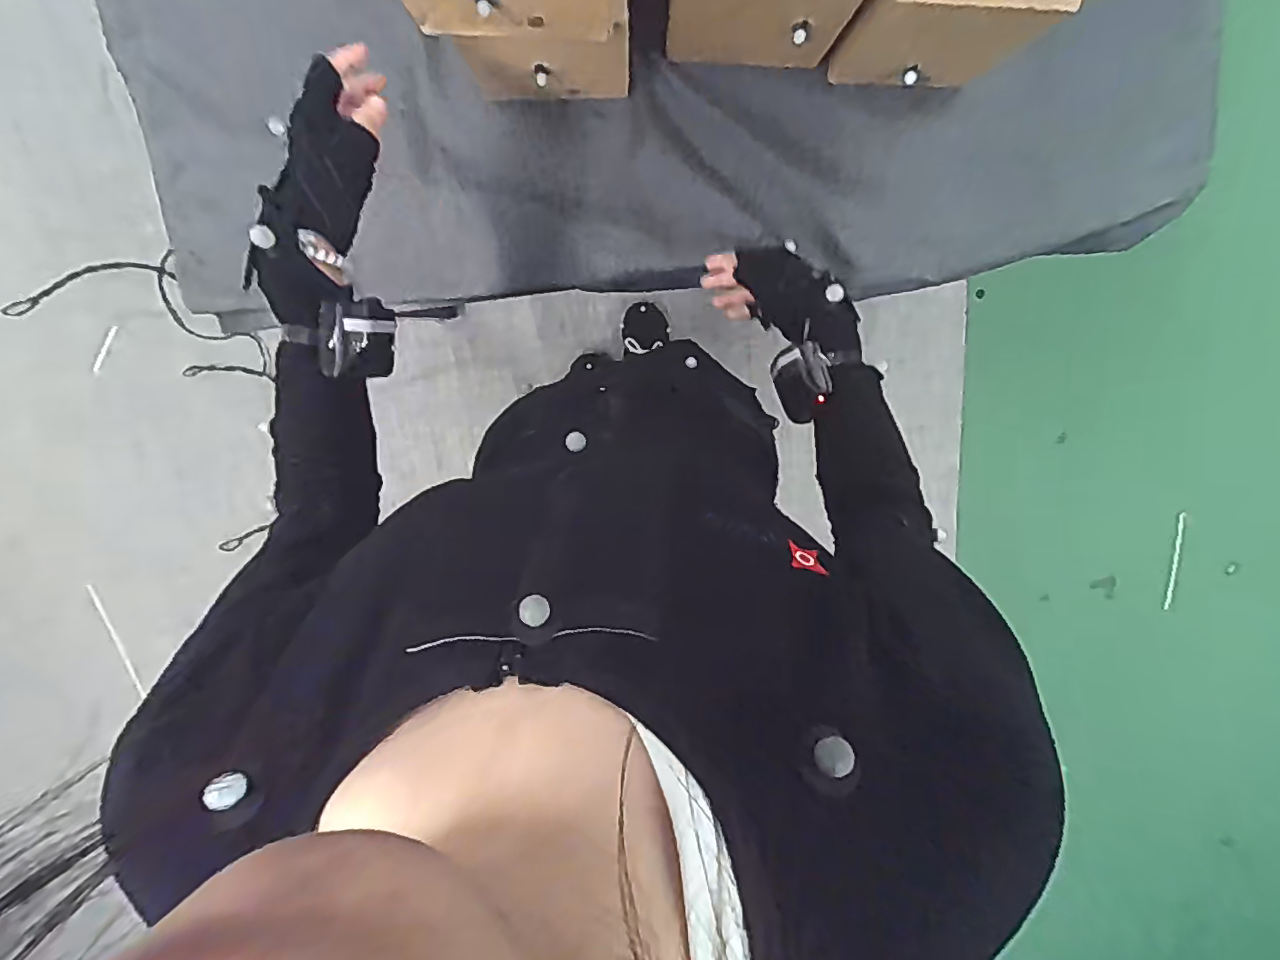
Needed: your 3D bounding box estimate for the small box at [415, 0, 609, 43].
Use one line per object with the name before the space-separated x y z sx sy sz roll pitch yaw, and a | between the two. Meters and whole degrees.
small box | -0.104 -0.447 0.372 0.168 0.176 0.179 1 108 -1
